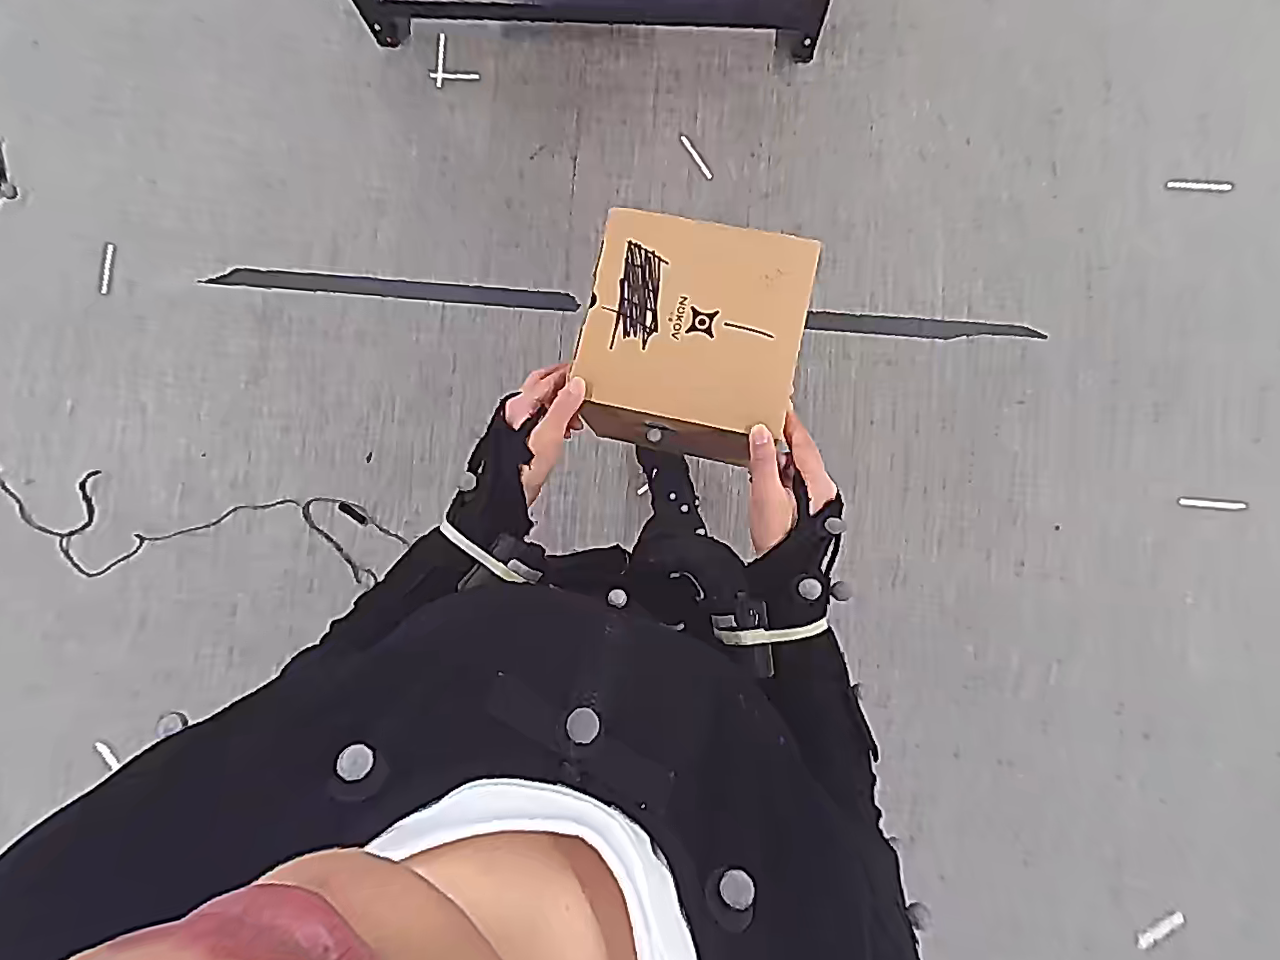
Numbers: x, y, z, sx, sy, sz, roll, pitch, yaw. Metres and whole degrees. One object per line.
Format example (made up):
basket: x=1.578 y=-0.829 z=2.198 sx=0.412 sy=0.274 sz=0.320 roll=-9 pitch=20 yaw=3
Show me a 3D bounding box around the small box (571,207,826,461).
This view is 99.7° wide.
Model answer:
small box: x=0.052 y=-0.120 z=0.508 sx=0.179 sy=0.176 sz=0.168 roll=12 pitch=85 yaw=5
